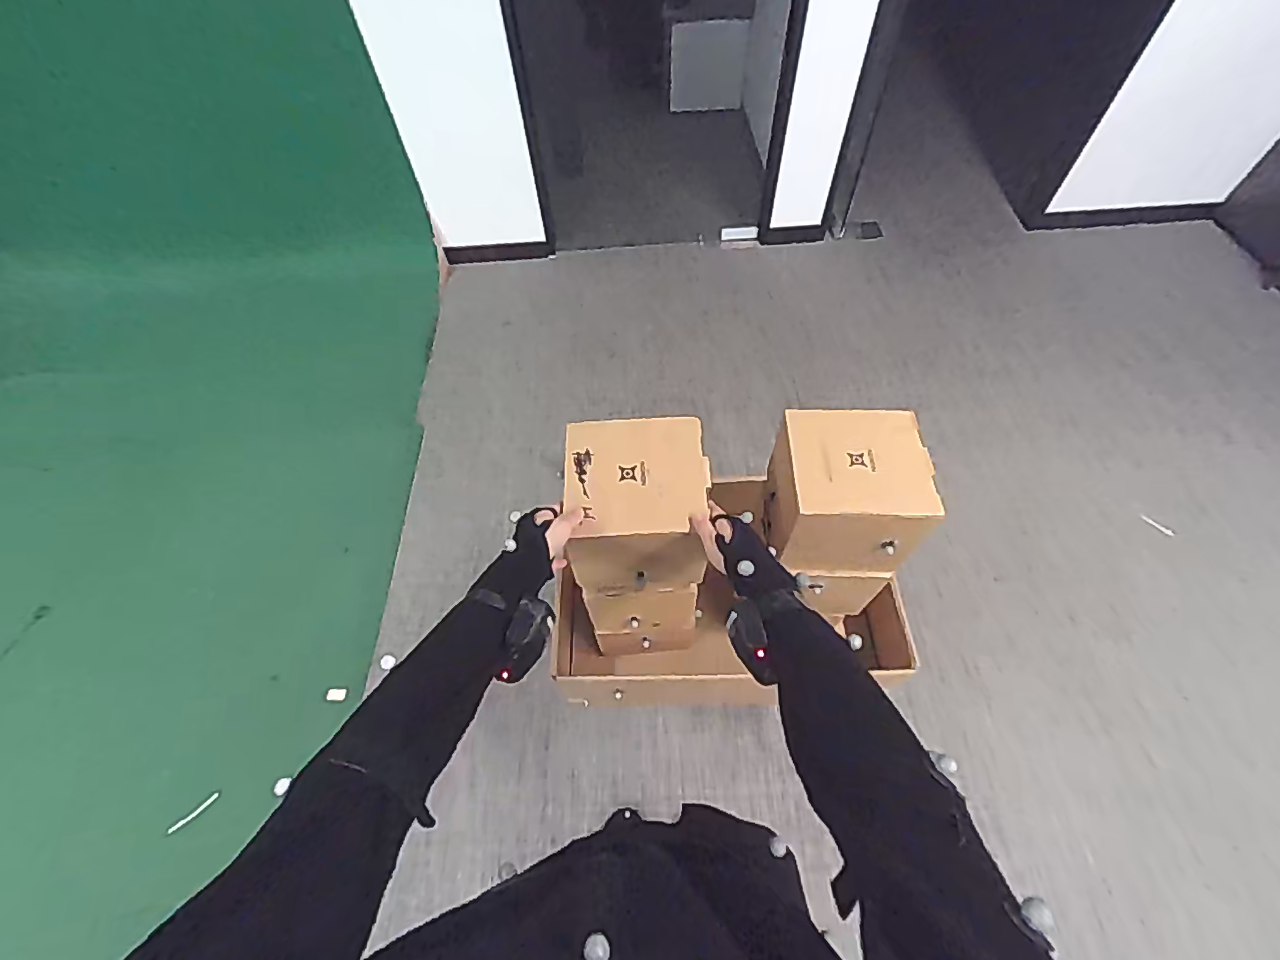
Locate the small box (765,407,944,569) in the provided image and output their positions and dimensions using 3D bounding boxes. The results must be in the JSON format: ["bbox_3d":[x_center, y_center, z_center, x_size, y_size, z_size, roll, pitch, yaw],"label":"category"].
[{"bbox_3d":[0.280,0.016,0.752,0.179,0.176,0.168,1,56,4],"label":"small box"}]

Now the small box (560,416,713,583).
[{"bbox_3d":[-0.005,0.031,0.722,0.179,0.176,0.168,-2,58,0],"label":"small box"}]

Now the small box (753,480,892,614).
[{"bbox_3d":[0.281,0.113,0.883,0.179,0.176,0.168,1,57,3],"label":"small box"}]
